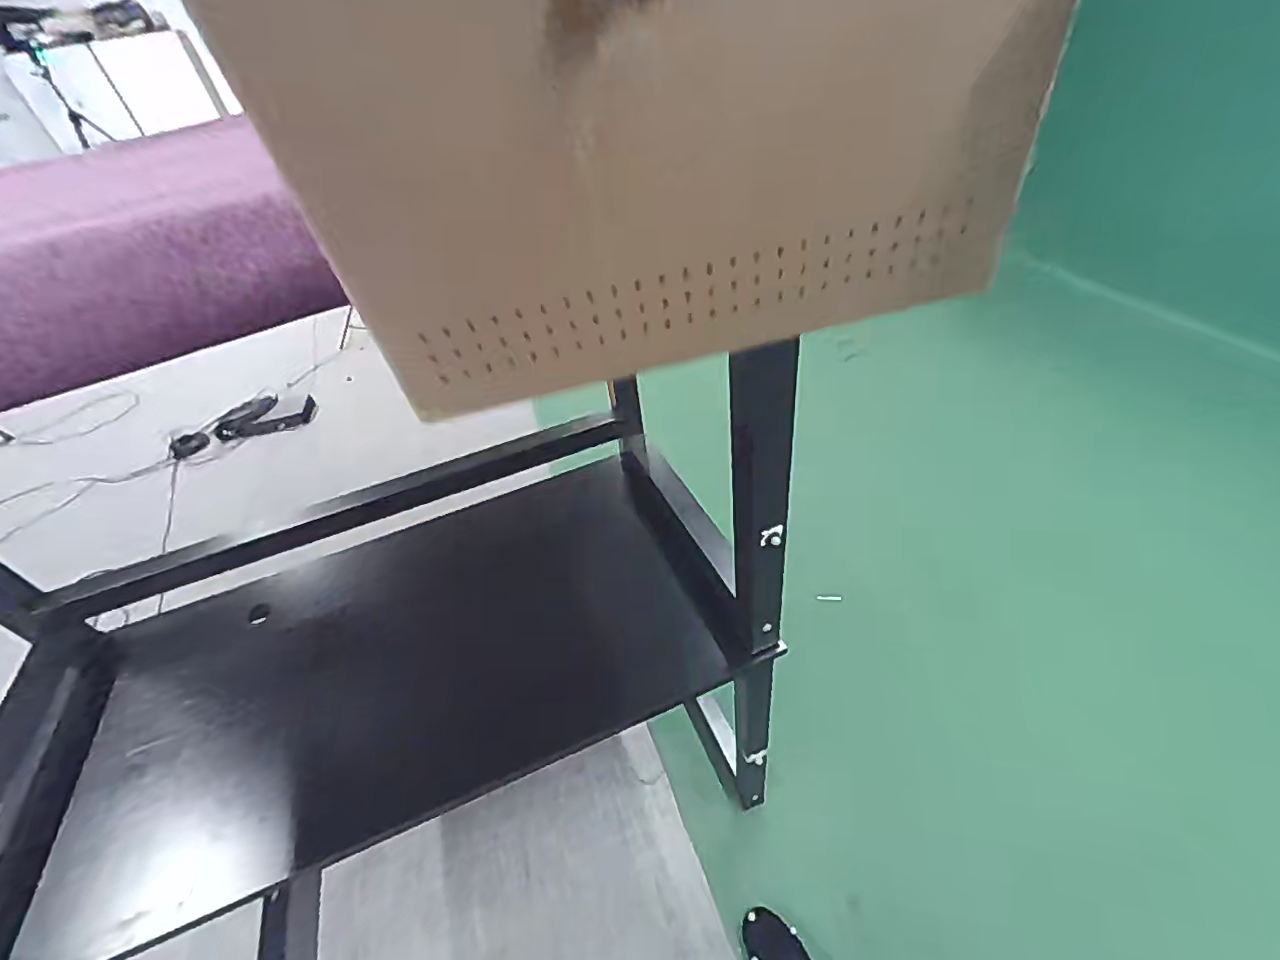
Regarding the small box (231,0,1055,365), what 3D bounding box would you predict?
[{"bbox_3d":[-0.003,-0.158,0.155,0.179,0.176,0.168,-14,44,-1],"label":"small box"}]
